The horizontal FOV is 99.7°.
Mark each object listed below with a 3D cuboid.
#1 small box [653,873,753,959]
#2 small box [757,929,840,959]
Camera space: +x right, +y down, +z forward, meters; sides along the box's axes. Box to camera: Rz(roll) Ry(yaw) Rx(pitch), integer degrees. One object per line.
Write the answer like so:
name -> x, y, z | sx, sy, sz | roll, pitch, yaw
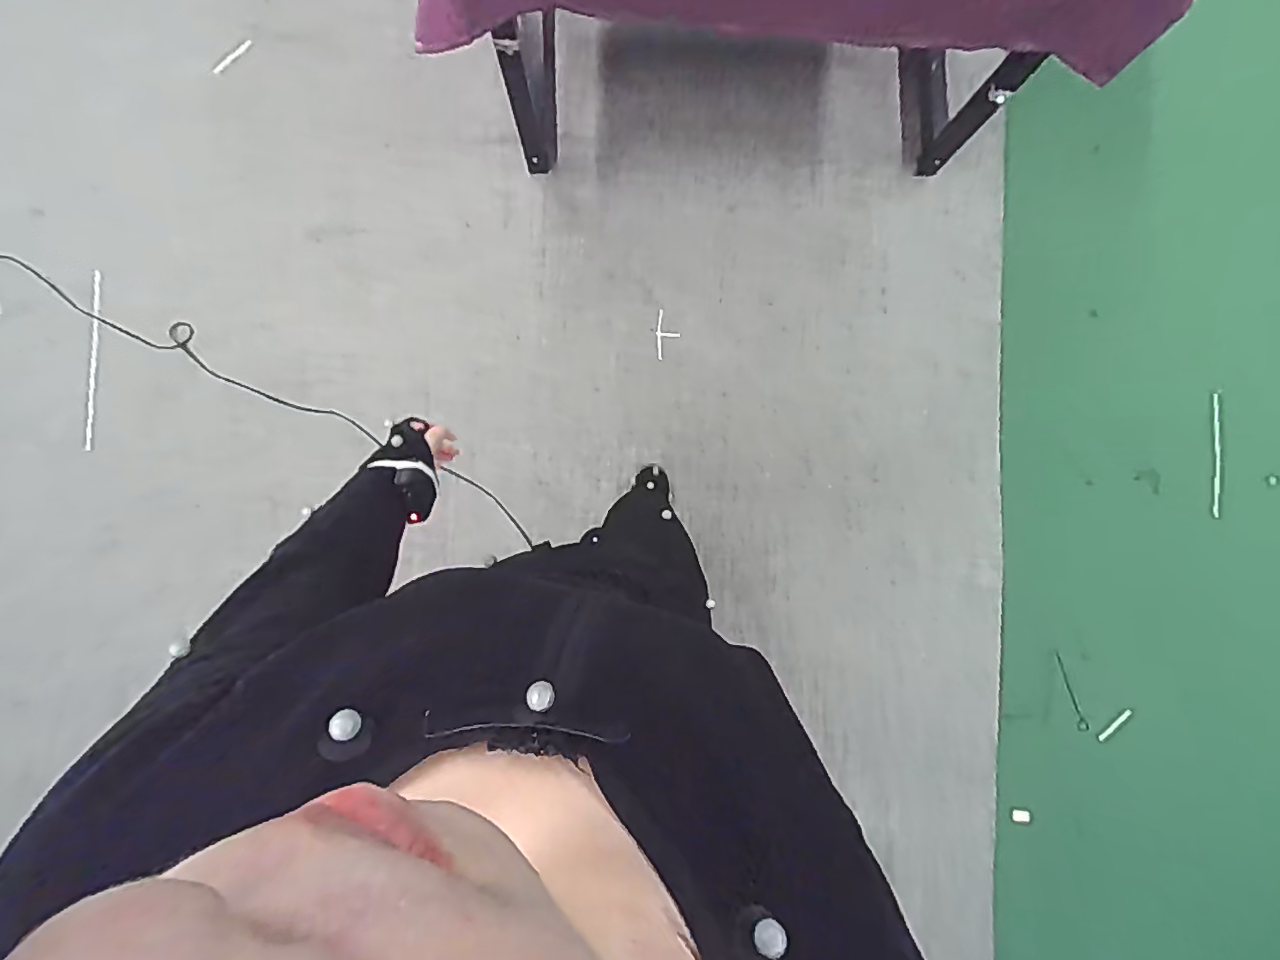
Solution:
small box -> 0.120, 0.934, 1.094 | 0.179, 0.176, 0.168 | 3, 90, -3
small box -> 0.337, 1.075, 1.104 | 0.168, 0.176, 0.179 | 4, 90, -3
